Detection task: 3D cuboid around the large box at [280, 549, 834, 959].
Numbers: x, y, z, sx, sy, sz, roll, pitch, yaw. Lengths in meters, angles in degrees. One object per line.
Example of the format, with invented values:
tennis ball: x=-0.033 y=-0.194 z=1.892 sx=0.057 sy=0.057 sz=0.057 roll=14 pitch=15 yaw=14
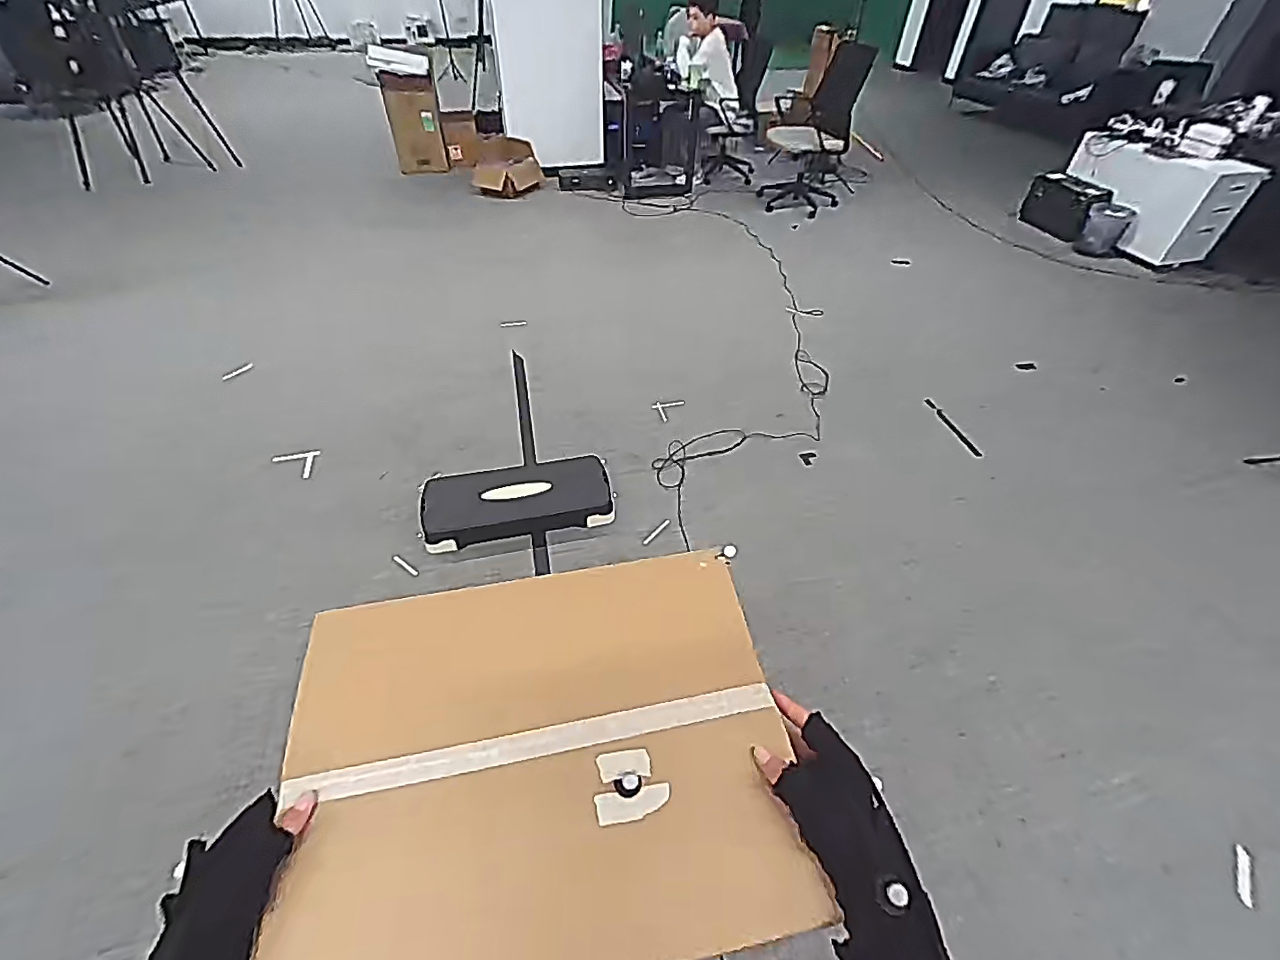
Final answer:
large box: x=-0.080 y=0.313 z=0.581 sx=0.408 sy=0.320 sz=0.320 roll=-8 pitch=52 yaw=-8
